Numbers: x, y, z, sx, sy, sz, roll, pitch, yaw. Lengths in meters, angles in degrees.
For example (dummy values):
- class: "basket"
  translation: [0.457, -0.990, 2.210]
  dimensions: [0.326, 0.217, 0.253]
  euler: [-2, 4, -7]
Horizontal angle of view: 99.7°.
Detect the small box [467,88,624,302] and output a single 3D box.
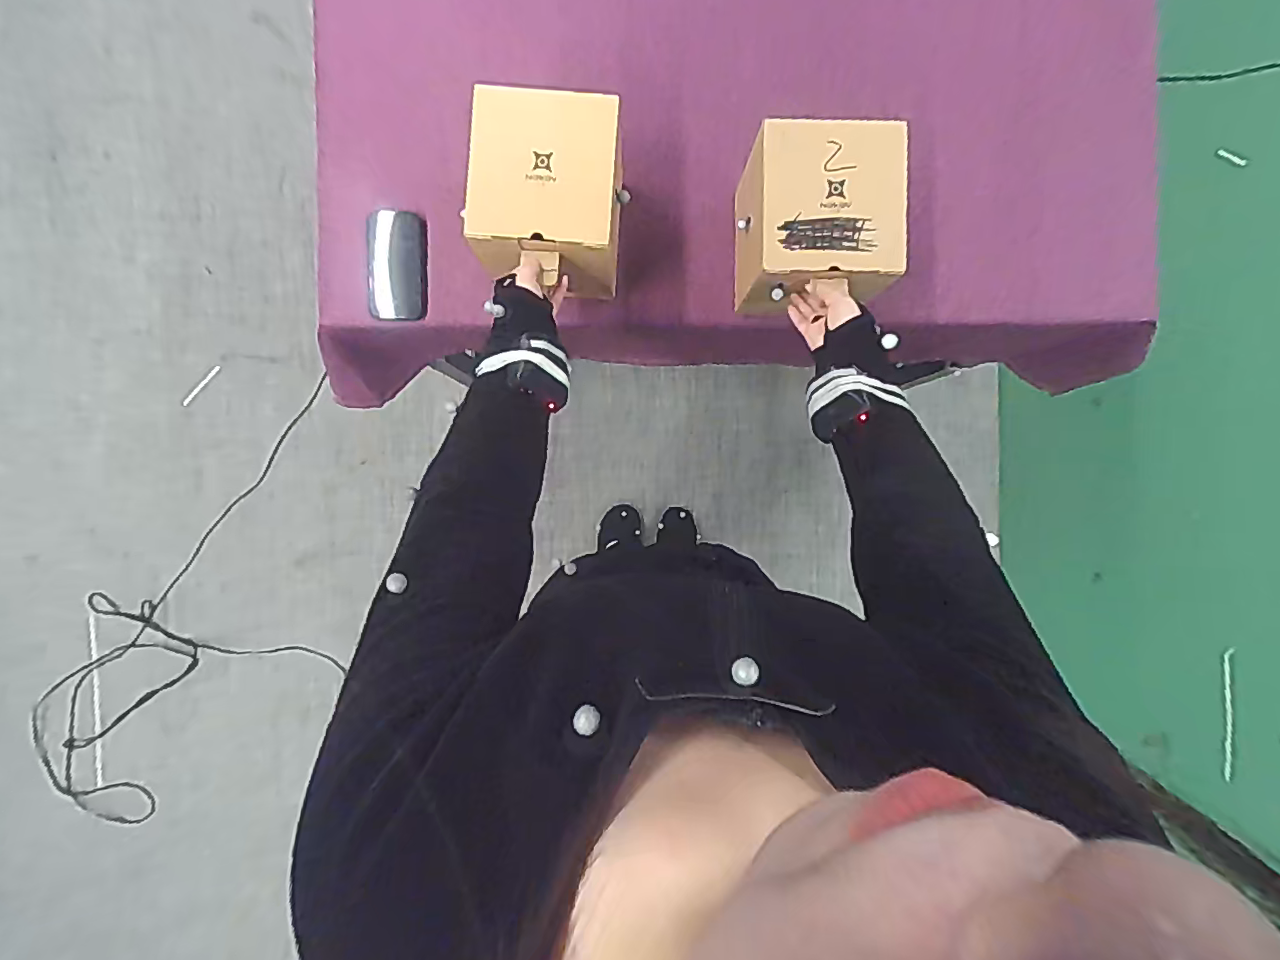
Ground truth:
- class: "small box"
  translation: [-0.110, -0.347, 0.688]
  dimensions: [0.168, 0.176, 0.179]
  euler: [4, 89, -2]
